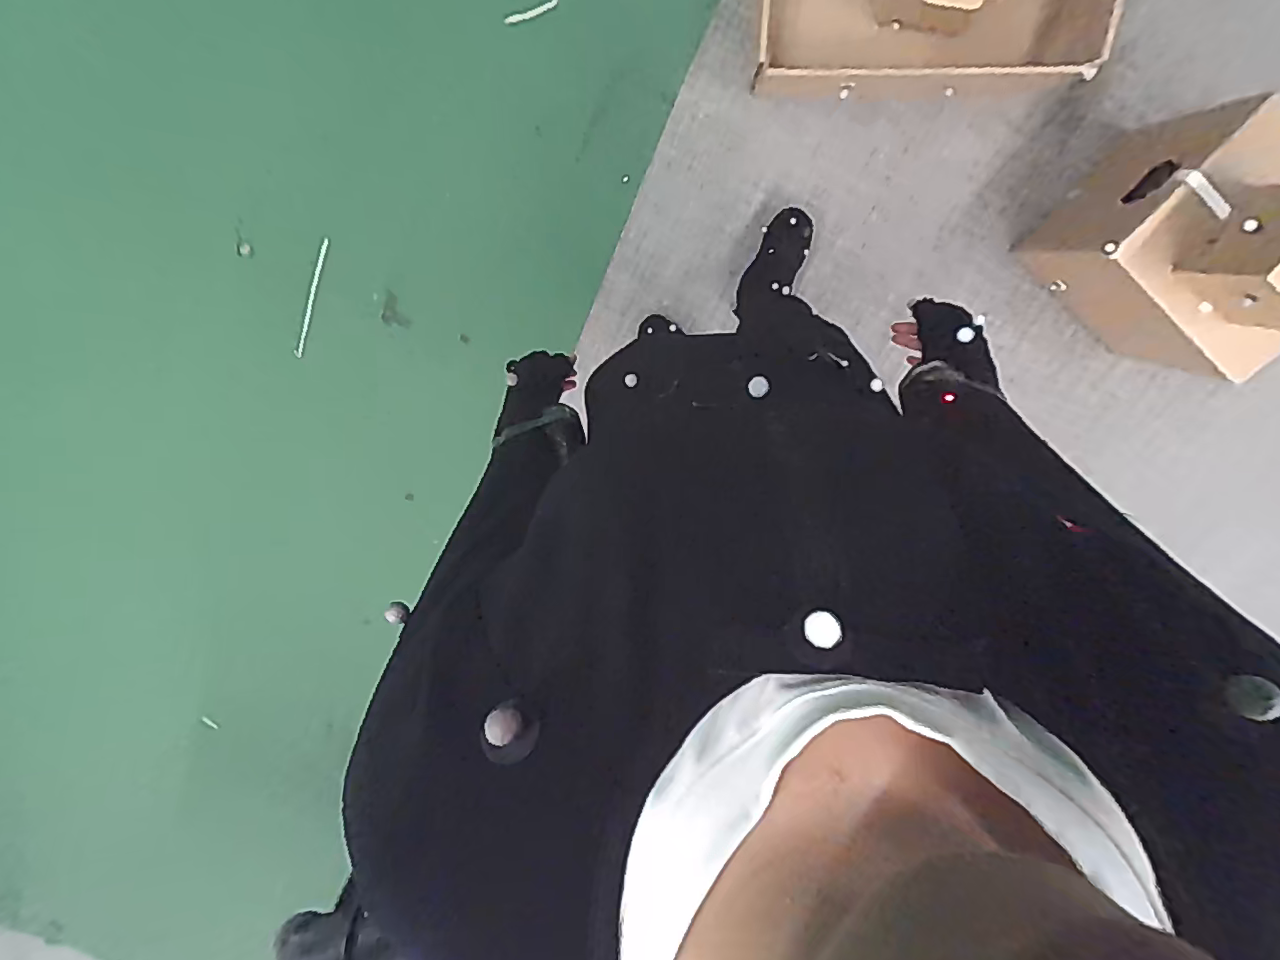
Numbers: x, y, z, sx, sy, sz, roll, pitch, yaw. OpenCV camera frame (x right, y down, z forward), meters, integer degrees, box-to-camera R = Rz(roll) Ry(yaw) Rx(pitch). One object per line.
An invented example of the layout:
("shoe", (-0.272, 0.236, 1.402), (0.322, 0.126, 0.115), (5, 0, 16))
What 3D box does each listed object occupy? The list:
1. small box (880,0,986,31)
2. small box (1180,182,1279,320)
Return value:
("small box", (0.550, -0.941, 0.960), (0.168, 0.176, 0.179), (9, 111, 1))
("small box", (1.068, -0.372, 0.883), (0.179, 0.176, 0.168), (30, 112, -9))
